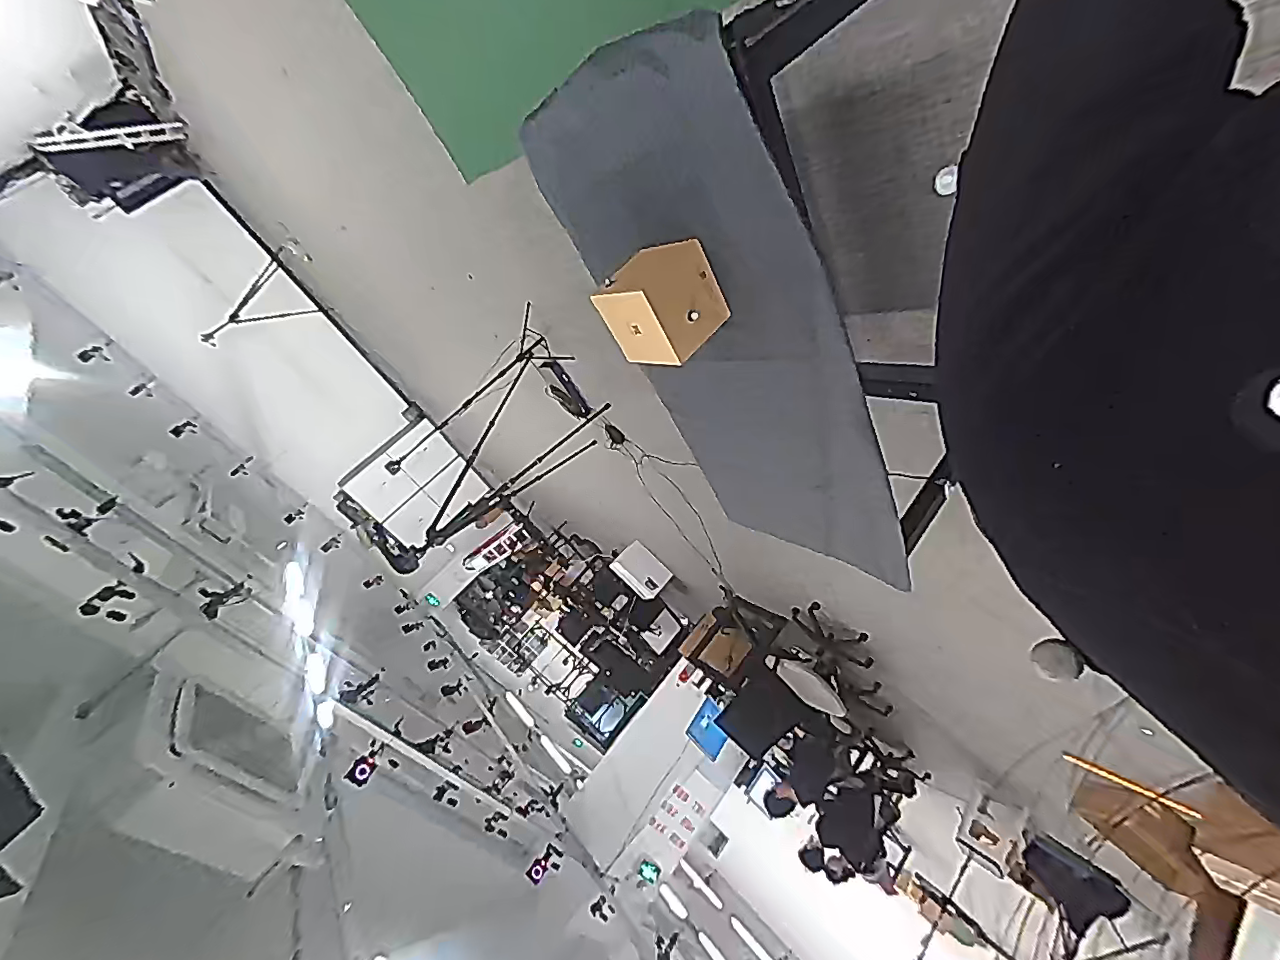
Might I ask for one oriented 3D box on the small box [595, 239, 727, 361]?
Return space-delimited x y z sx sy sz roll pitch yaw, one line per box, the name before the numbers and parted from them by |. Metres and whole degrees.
small box | 0.049 -0.357 1.077 0.179 0.176 0.168 20 151 51
